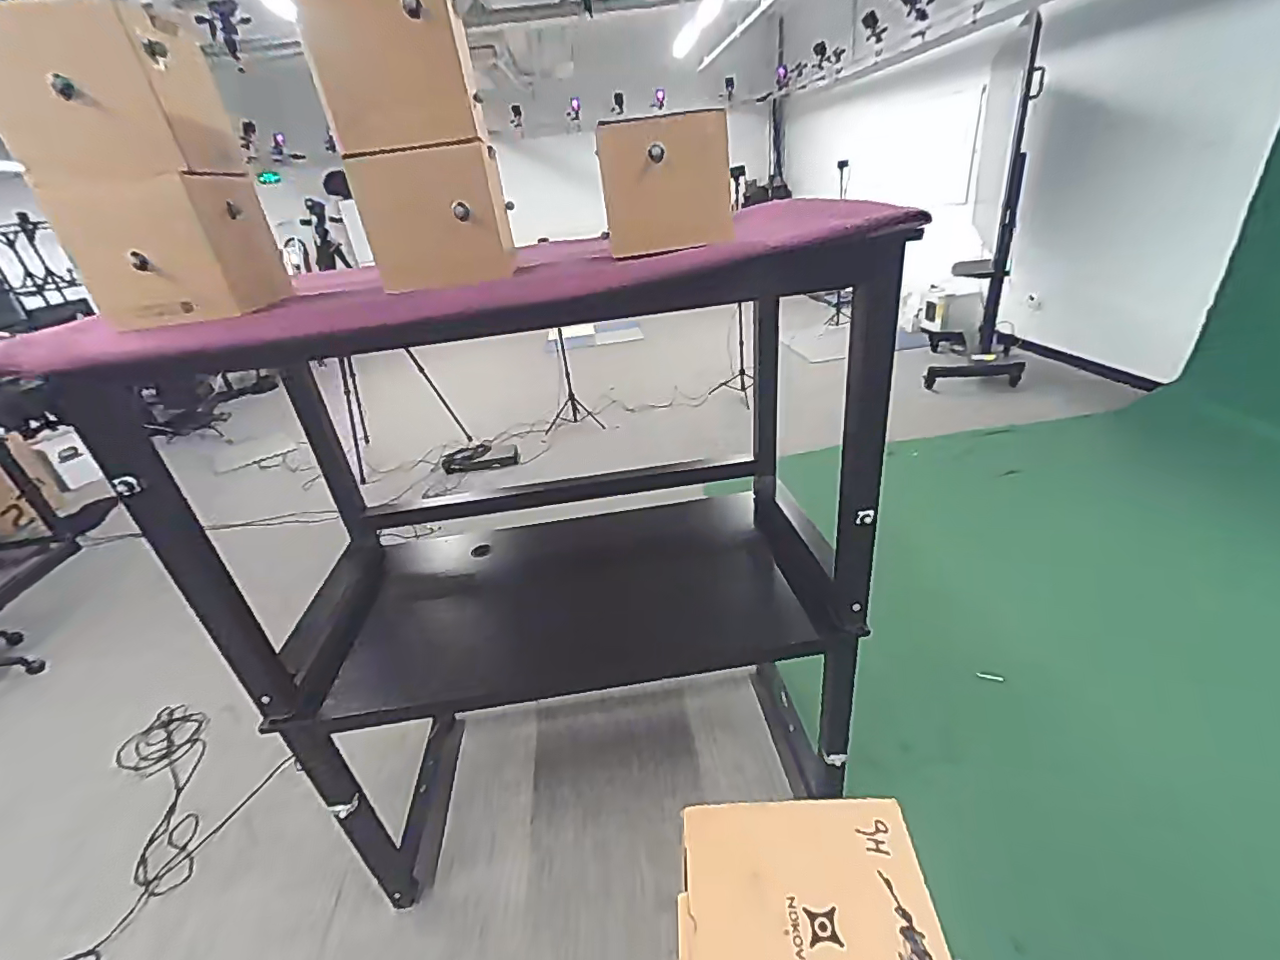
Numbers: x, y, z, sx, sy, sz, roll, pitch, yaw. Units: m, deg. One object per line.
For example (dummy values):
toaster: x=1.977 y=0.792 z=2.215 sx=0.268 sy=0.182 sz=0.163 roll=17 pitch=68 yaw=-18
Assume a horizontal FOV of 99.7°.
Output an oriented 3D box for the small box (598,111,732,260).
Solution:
small box: x=0.035 y=-0.435 z=0.820 sx=0.179 sy=0.176 sz=0.168 roll=-8 pitch=26 yaw=-1

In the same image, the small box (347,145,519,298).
small box: x=-0.281 y=-0.373 z=0.785 sx=0.179 sy=0.176 sz=0.168 roll=-10 pitch=27 yaw=-3

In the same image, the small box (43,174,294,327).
small box: x=-0.615 y=-0.313 z=0.741 sx=0.168 sy=0.176 sz=0.179 roll=-8 pitch=28 yaw=-5

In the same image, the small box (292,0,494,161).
small box: x=-0.305 y=-0.516 z=0.710 sx=0.179 sy=0.176 sz=0.168 roll=-10 pitch=27 yaw=-5
